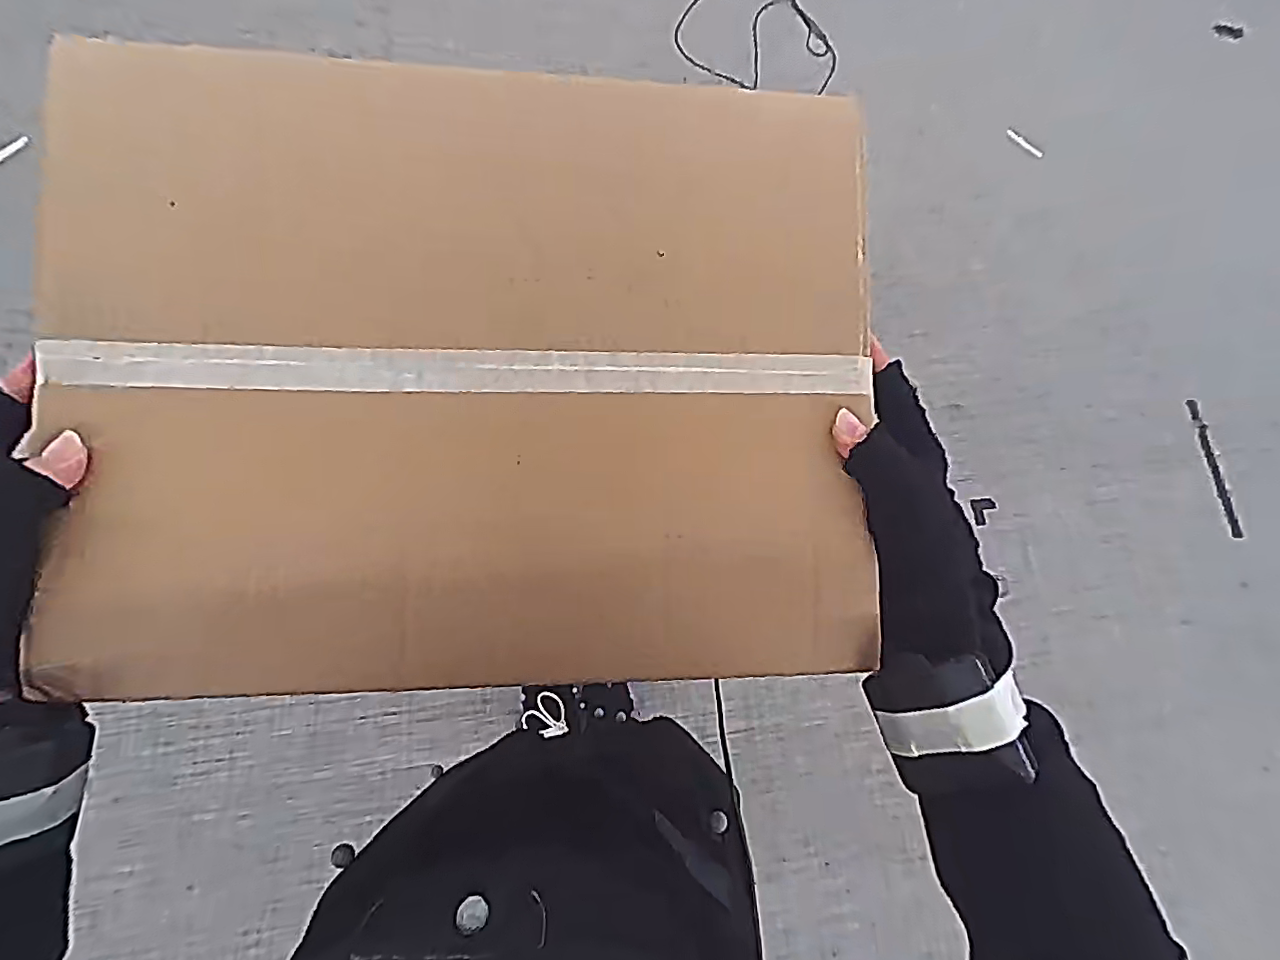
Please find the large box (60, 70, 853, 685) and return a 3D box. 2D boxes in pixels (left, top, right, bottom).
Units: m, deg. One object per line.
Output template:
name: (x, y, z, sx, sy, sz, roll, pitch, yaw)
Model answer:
large box: (-0.093, -0.050, 0.433, 0.408, 0.320, 0.320, 0, 87, -6)
